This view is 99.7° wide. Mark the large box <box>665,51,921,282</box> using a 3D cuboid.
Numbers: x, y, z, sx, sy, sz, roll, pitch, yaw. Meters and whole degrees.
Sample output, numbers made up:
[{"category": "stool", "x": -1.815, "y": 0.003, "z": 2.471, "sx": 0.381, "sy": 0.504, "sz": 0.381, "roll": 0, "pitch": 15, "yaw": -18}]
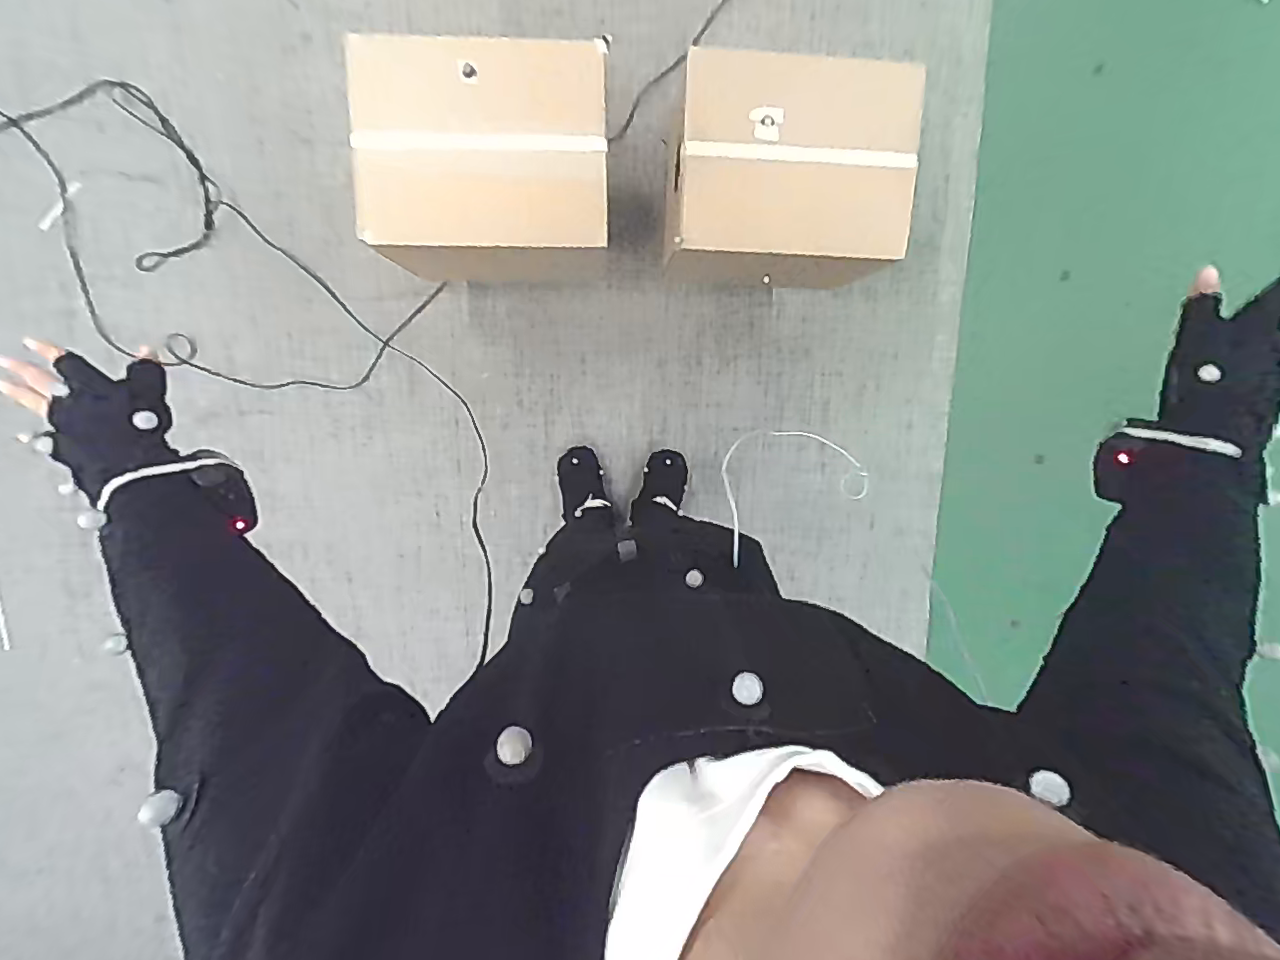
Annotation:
[{"category": "large box", "x": 0.268, "y": -0.582, "z": 1.074, "sx": 0.408, "sy": 0.320, "sz": 0.320, "roll": 2, "pitch": 100, "yaw": -4}]
